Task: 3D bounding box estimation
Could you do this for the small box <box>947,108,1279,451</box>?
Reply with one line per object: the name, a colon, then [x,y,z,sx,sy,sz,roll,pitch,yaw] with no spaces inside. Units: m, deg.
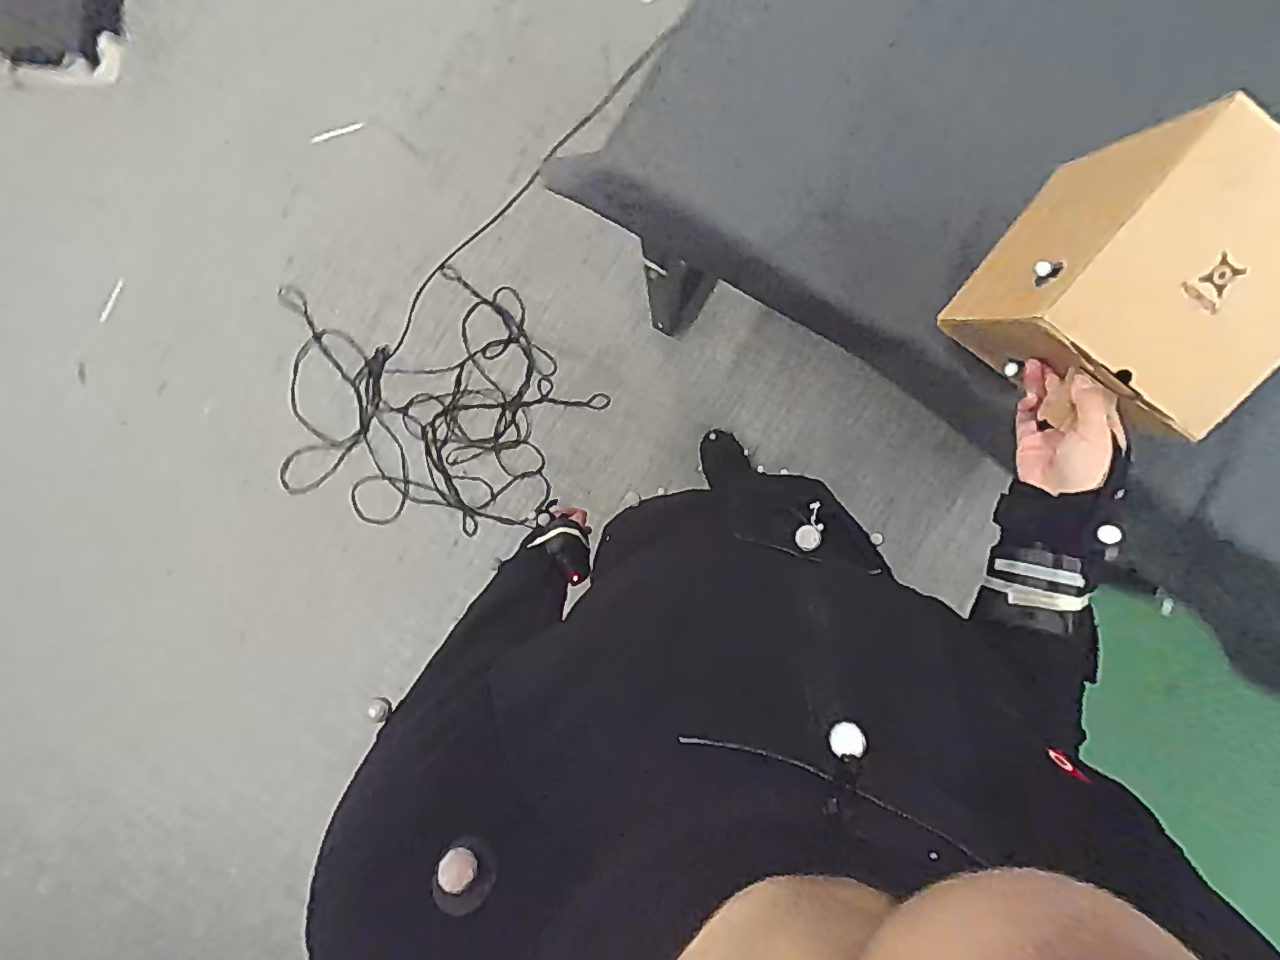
small box: [0.410,-0.156,0.459,0.168,0.176,0.179,32,107,-6]
